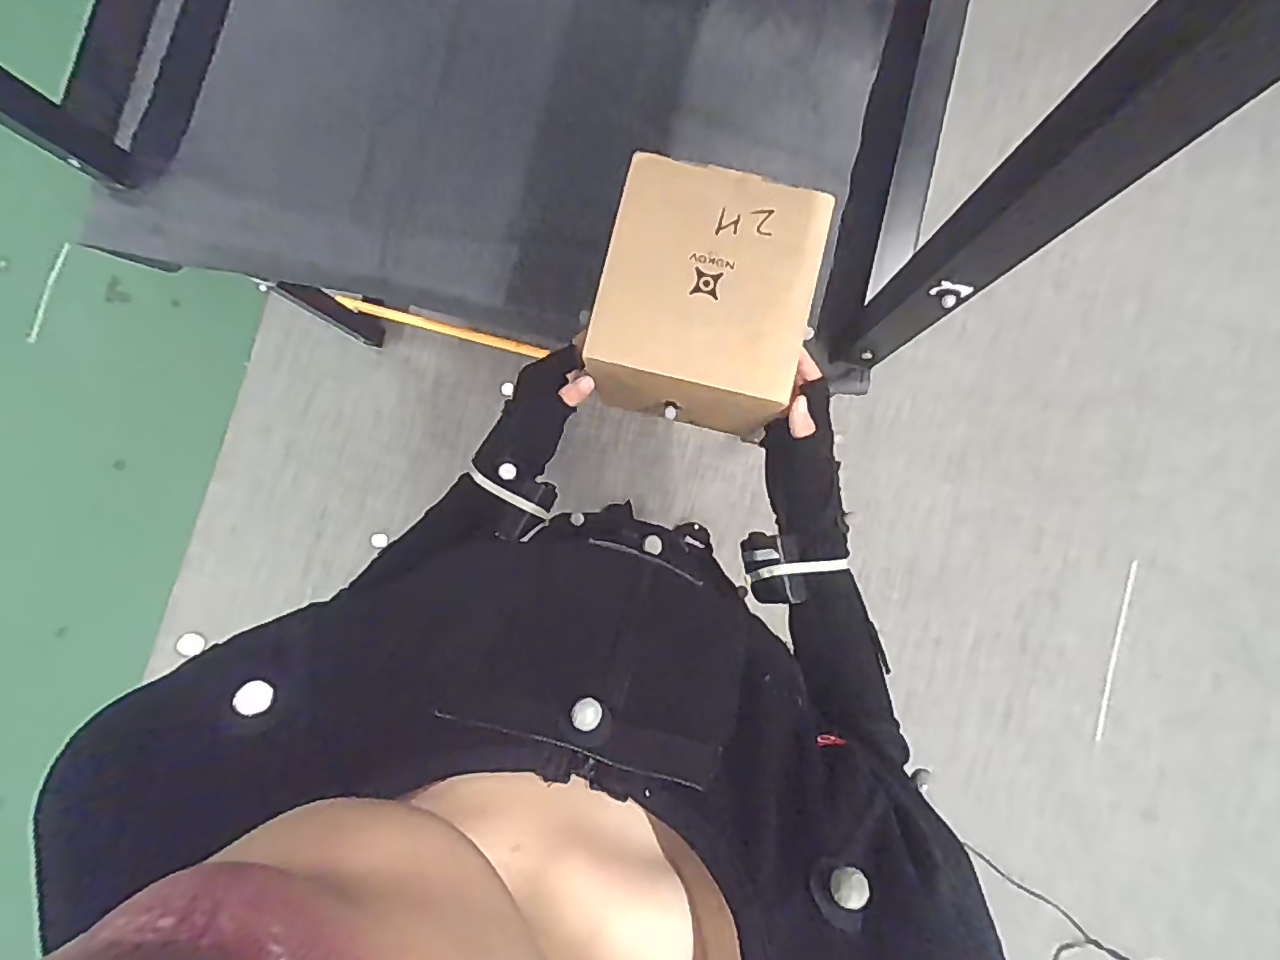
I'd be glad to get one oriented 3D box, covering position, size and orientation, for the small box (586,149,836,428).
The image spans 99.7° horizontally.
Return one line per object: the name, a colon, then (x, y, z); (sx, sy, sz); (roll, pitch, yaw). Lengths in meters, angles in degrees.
small box: (0.057, -0.156, 0.502); (0.168, 0.176, 0.179); (14, 86, 1)
